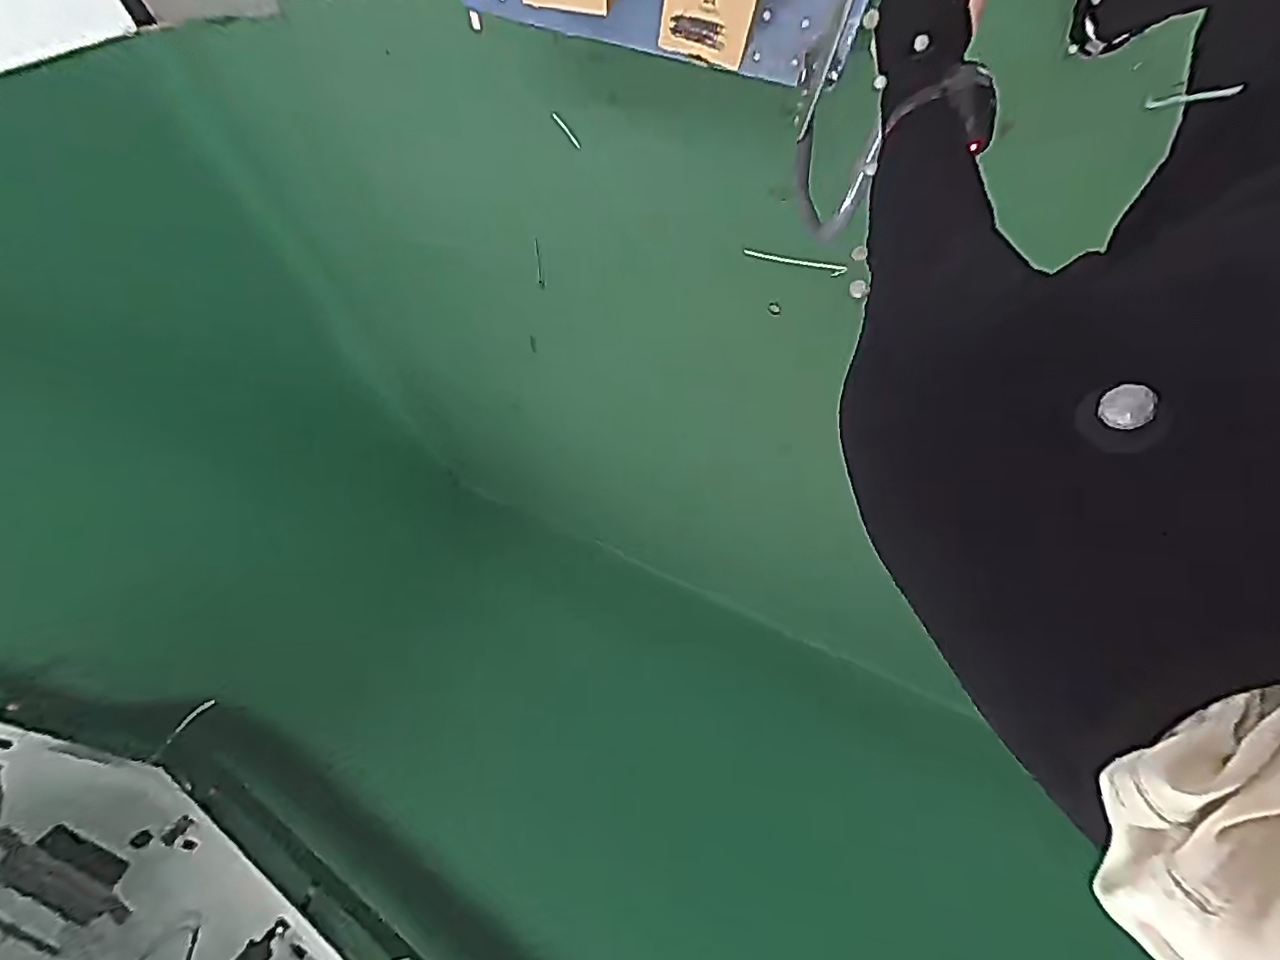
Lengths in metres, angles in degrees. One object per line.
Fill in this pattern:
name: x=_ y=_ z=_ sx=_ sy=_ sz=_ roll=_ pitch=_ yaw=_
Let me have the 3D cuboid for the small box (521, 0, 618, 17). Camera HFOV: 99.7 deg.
small box: x=-0.121 y=-1.007 z=1.010 sx=0.179 sy=0.176 sz=0.168 roll=14 pitch=146 yaw=7
